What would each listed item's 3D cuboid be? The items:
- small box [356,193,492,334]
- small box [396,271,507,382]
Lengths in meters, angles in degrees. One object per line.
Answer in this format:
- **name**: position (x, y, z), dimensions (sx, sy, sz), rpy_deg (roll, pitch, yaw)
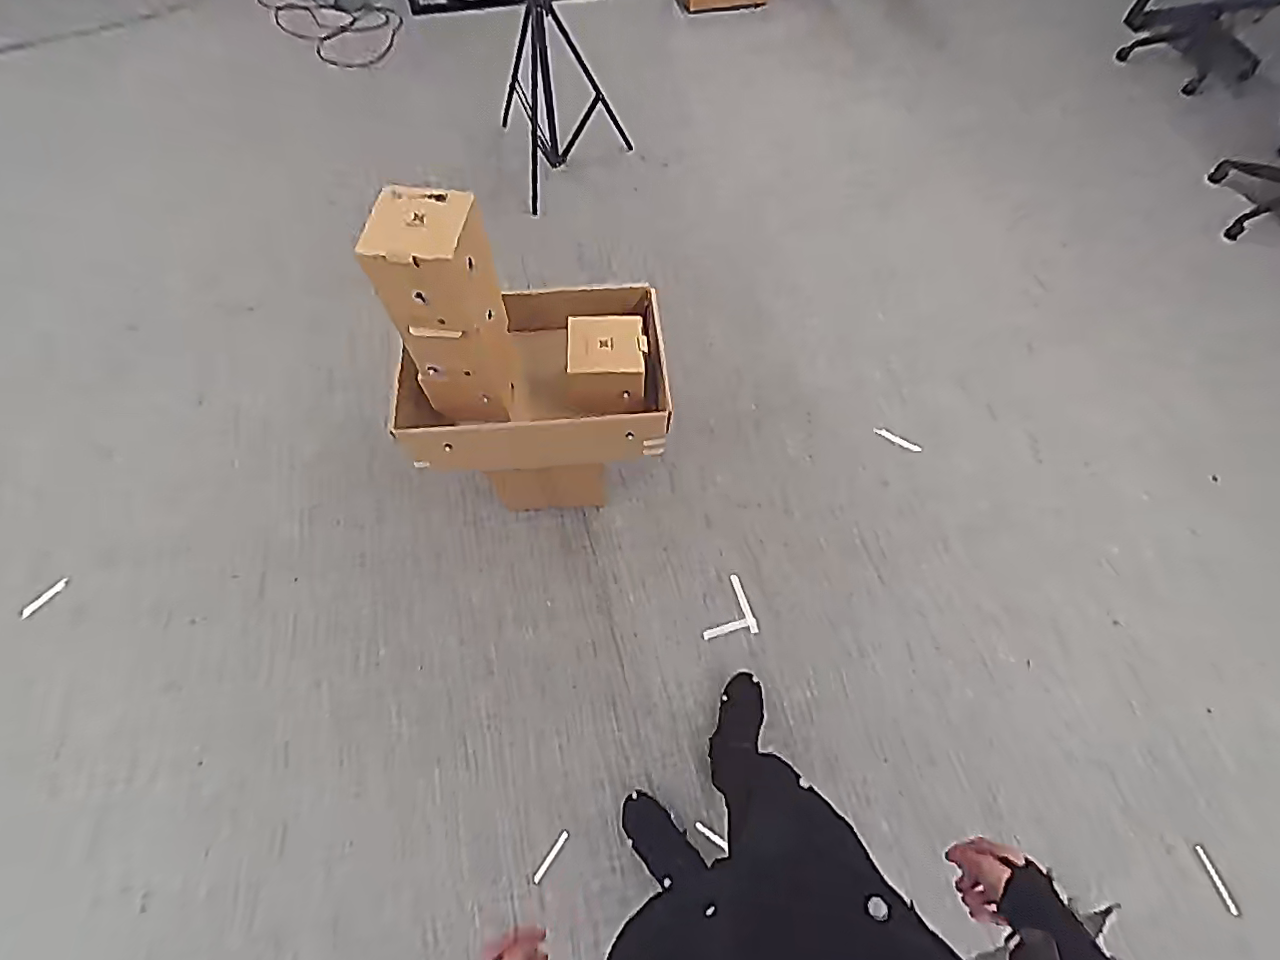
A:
- **small box**: position (-0.384, -0.393, 1.000), dimensions (0.168, 0.176, 0.179), rpy_deg (6, 64, 1)
- **small box**: position (-0.389, -0.325, 1.150), dimensions (0.168, 0.176, 0.179), rpy_deg (2, 63, 0)
